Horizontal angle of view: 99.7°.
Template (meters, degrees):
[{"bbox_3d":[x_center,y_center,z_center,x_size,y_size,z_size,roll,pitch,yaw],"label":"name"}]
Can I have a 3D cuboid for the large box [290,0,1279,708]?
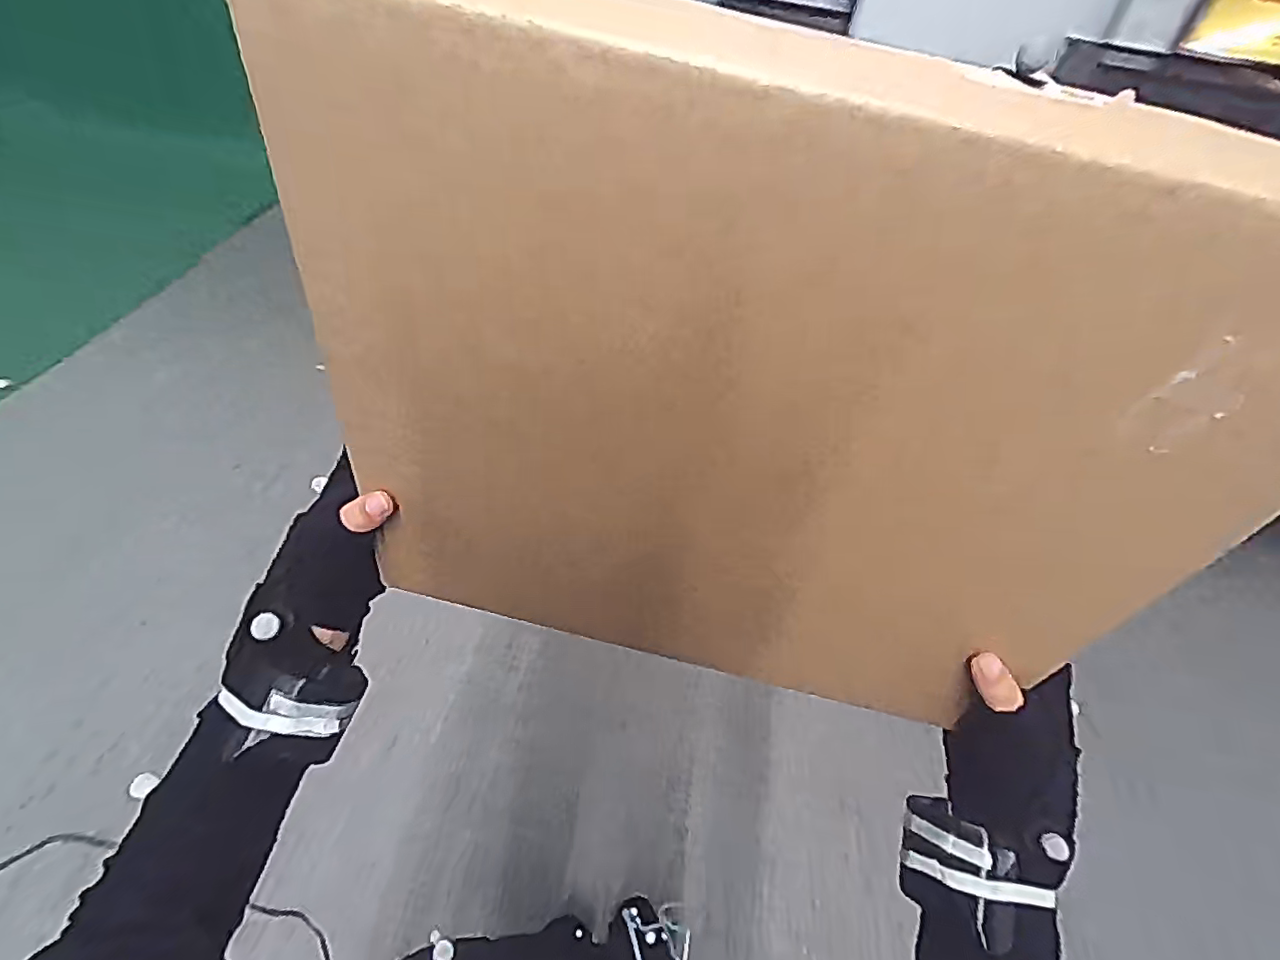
[{"bbox_3d":[0.074,-0.091,0.375,0.408,0.320,0.320,14,43,-1],"label":"large box"}]
